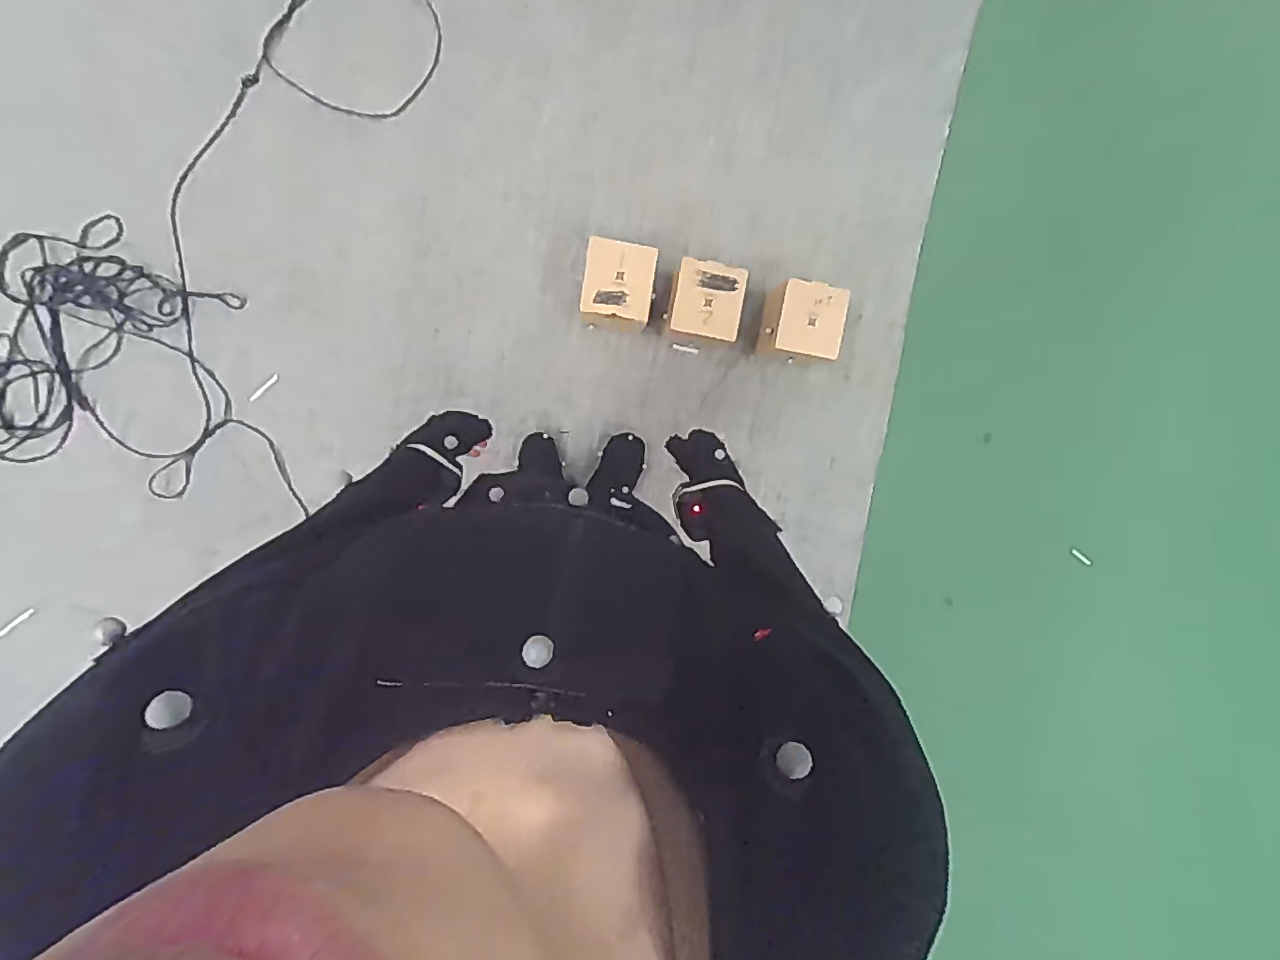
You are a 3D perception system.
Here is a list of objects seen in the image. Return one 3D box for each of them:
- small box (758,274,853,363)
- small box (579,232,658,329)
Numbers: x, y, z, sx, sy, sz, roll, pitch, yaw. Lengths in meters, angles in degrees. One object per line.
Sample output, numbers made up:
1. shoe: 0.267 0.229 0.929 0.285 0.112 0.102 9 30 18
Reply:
1. small box: 0.417 -0.407 1.394 0.168 0.176 0.179 10 95 -7
2. small box: -0.055 -0.484 1.342 0.168 0.176 0.179 9 94 -5
